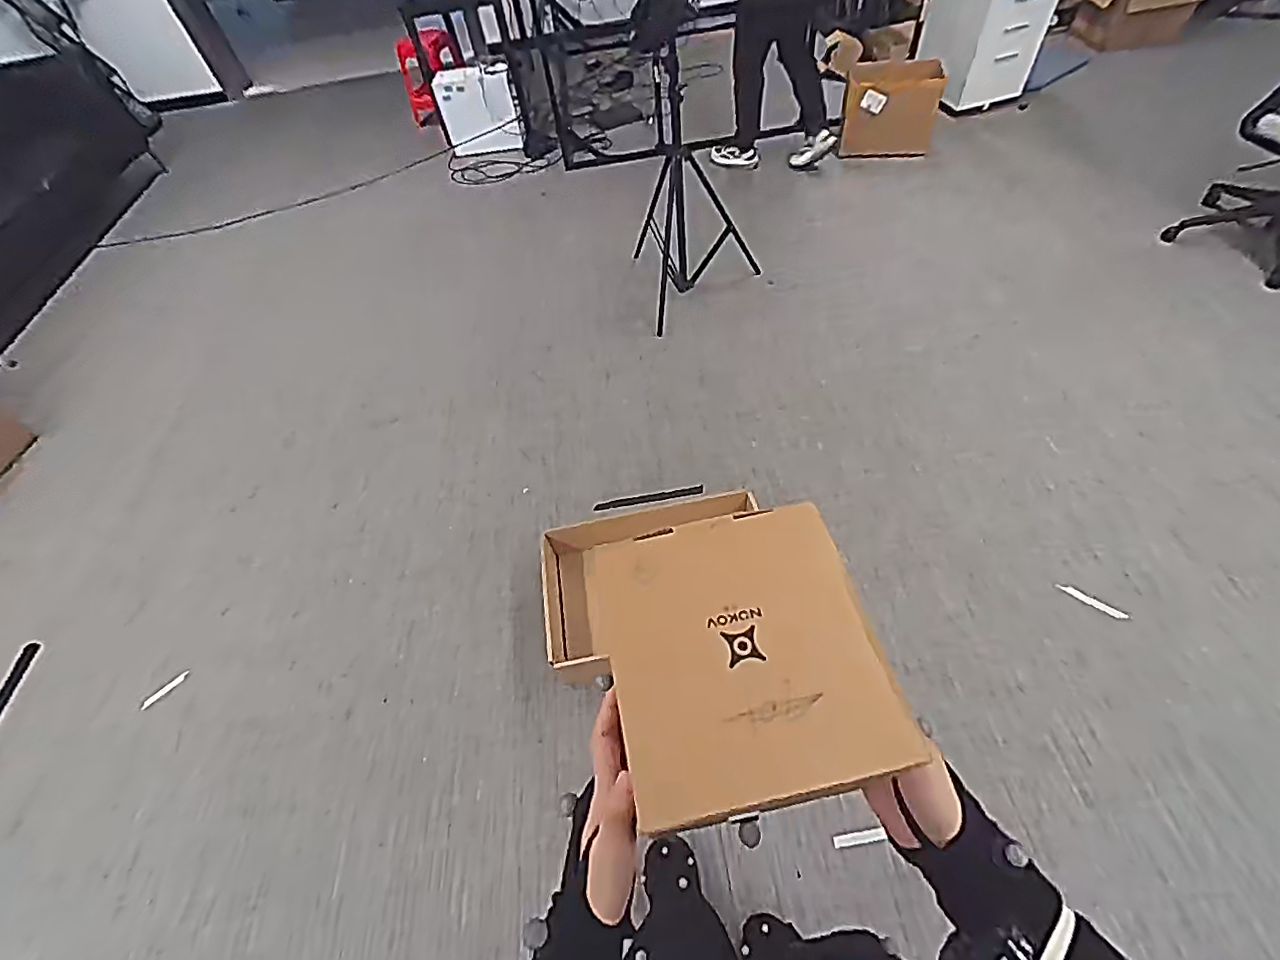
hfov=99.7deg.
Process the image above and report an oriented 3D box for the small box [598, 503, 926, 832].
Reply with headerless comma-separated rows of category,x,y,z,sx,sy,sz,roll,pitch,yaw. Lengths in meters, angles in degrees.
small box,0.069,0.146,0.408,0.168,0.176,0.179,-12,56,-3
